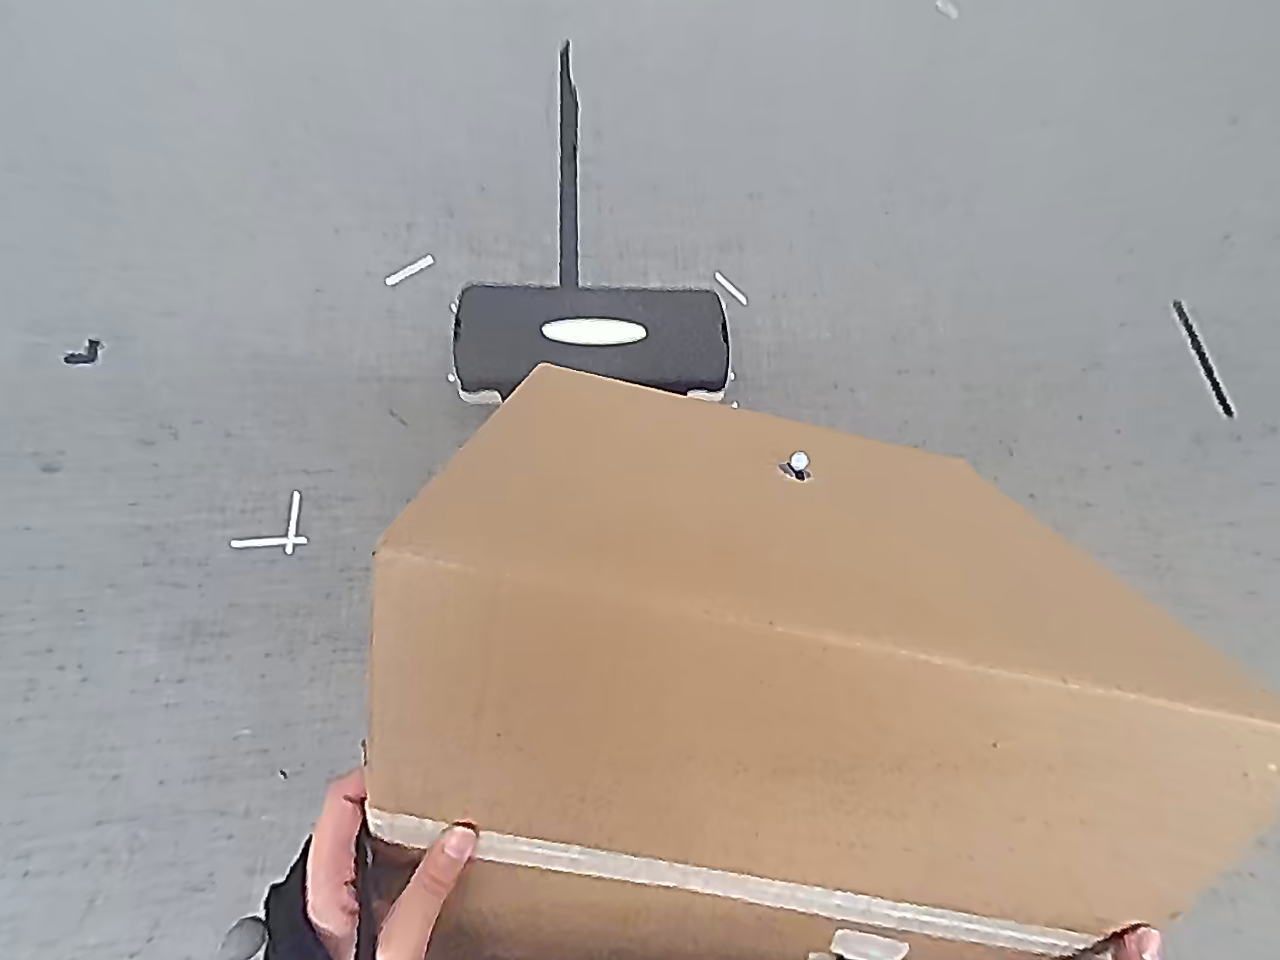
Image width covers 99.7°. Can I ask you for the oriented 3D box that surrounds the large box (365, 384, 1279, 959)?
[{"bbox_3d":[0.061,0.141,0.418,0.408,0.320,0.320,11,26,-4],"label":"large box"}]
